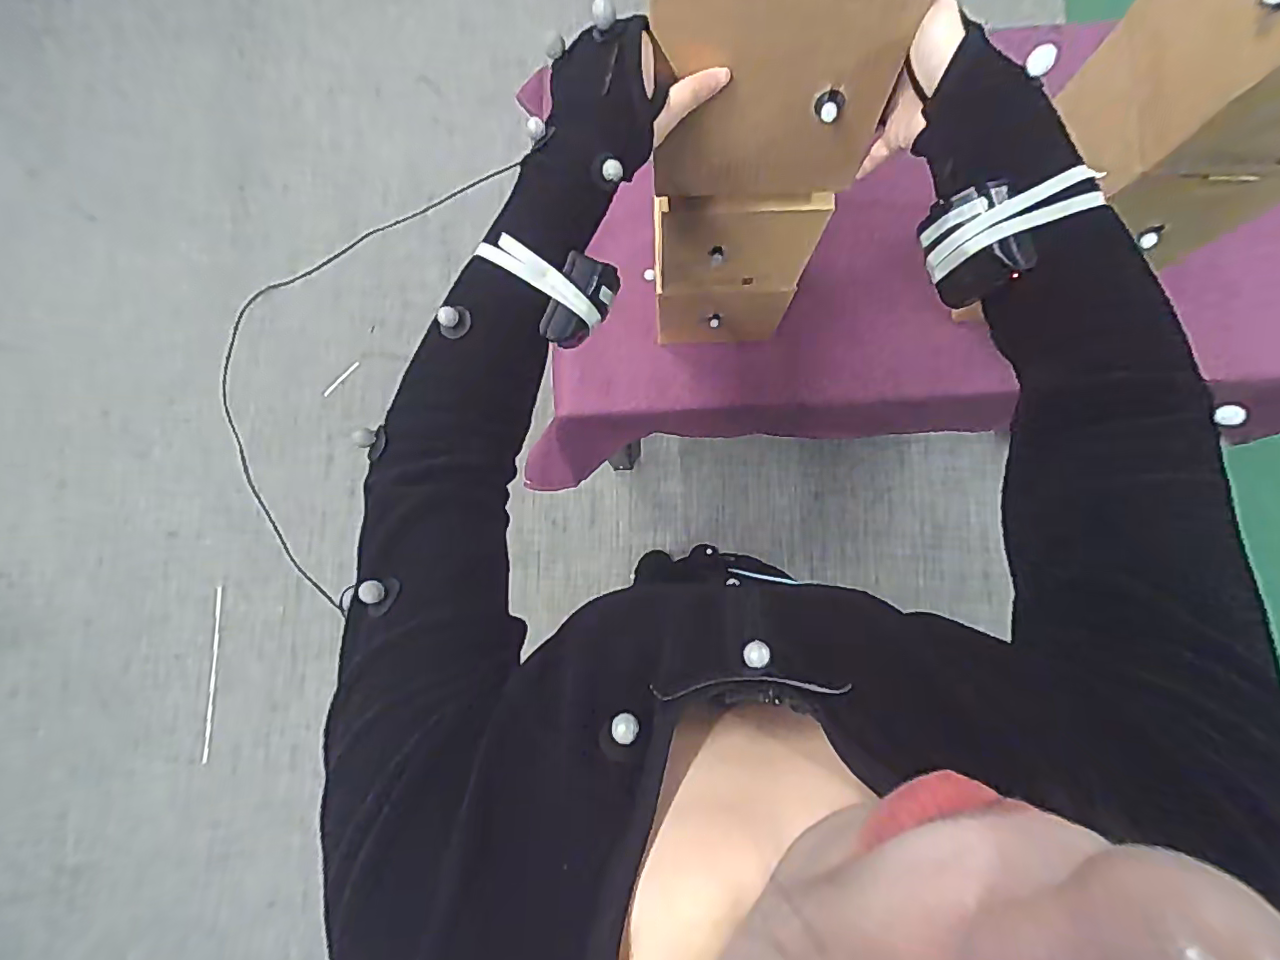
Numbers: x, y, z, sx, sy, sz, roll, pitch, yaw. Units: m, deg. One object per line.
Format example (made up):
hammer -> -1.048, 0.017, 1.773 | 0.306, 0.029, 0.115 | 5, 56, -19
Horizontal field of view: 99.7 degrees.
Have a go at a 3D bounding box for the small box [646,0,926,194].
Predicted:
small box -> 0.095, -0.354, 0.428 | 0.179, 0.176, 0.168 | 0, 75, 2

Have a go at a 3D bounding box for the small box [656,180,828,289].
small box -> 0.103, -0.328, 0.602 | 0.168, 0.176, 0.179 | 0, 82, 2

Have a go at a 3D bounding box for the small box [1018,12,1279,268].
small box -> 0.546, -0.351, 0.586 | 0.168, 0.176, 0.179 | 4, 84, 3

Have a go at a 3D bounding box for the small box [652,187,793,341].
small box -> 0.107, -0.305, 0.763 | 0.179, 0.176, 0.168 | -1, 83, 3

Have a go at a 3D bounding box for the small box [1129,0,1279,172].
small box -> 0.536, -0.370, 0.422 | 0.168, 0.176, 0.179 | 2, 82, 3
